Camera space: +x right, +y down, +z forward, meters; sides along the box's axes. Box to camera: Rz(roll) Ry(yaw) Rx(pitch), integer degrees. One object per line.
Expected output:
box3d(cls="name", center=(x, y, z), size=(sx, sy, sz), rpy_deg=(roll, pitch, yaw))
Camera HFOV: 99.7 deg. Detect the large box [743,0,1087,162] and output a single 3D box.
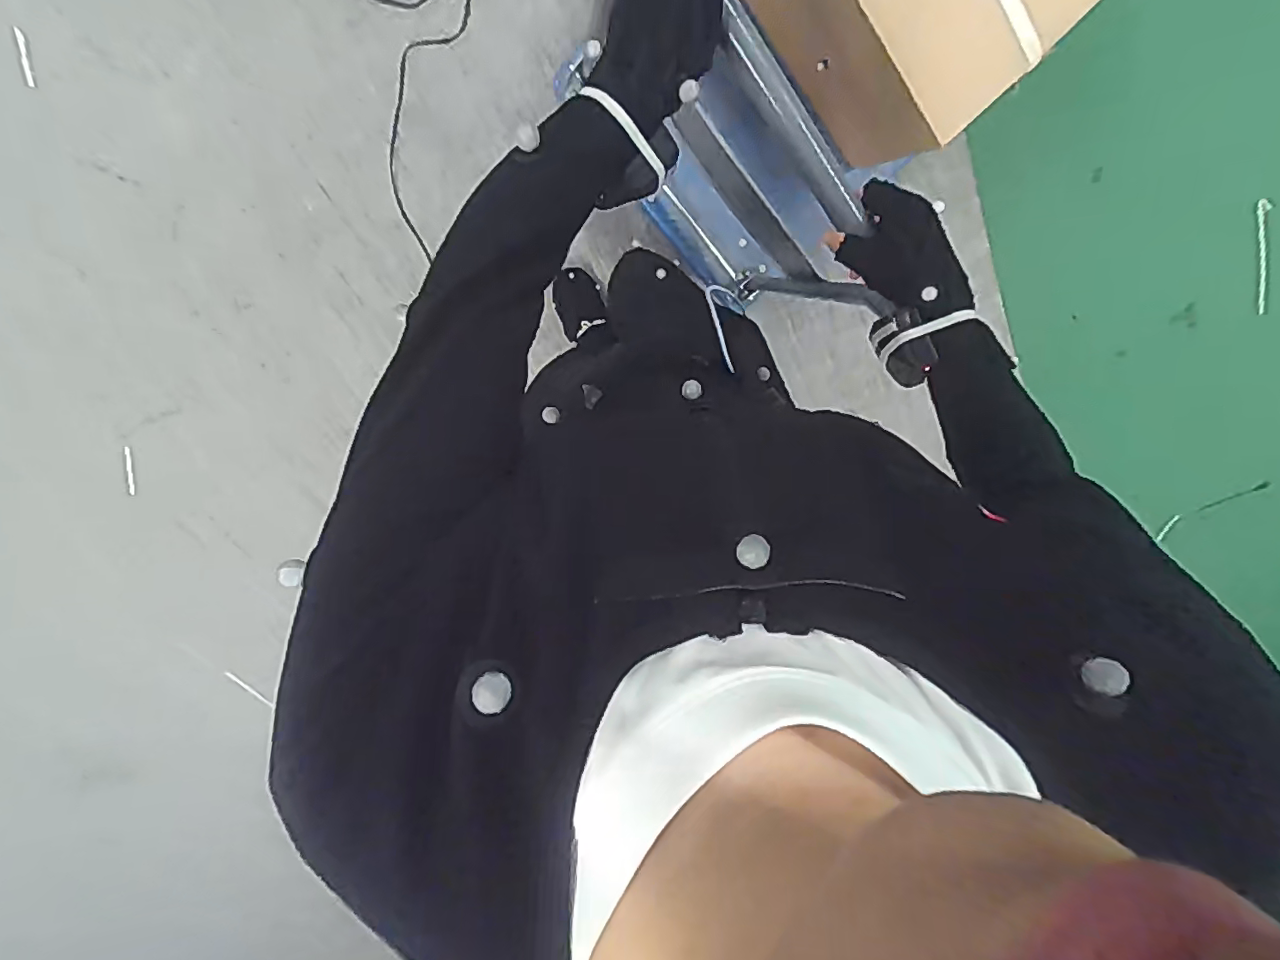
box3d(cls="large box", center=(0.419, -0.803, 0.864), size=(0.320, 0.320, 0.408), rpy_deg=(-43, 111, 13))
